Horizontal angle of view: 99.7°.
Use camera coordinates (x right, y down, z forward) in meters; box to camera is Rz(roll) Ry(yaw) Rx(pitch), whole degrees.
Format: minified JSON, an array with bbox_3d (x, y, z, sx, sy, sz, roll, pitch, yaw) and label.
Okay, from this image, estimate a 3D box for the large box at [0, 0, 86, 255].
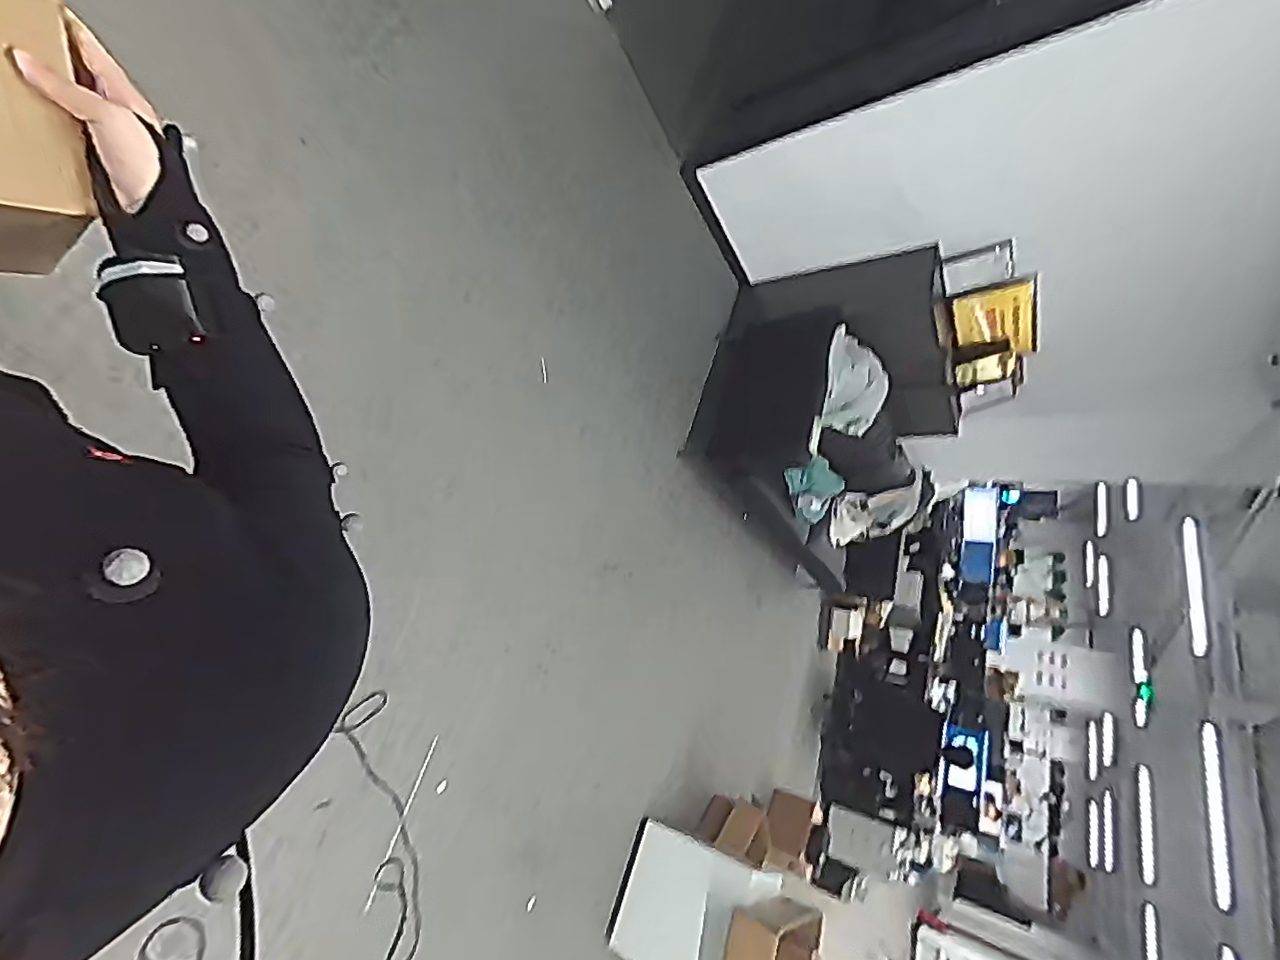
[{"bbox_3d":[-0.658,-0.336,0.306,0.408,0.320,0.320,-17,110,-51],"label":"large box"}]
